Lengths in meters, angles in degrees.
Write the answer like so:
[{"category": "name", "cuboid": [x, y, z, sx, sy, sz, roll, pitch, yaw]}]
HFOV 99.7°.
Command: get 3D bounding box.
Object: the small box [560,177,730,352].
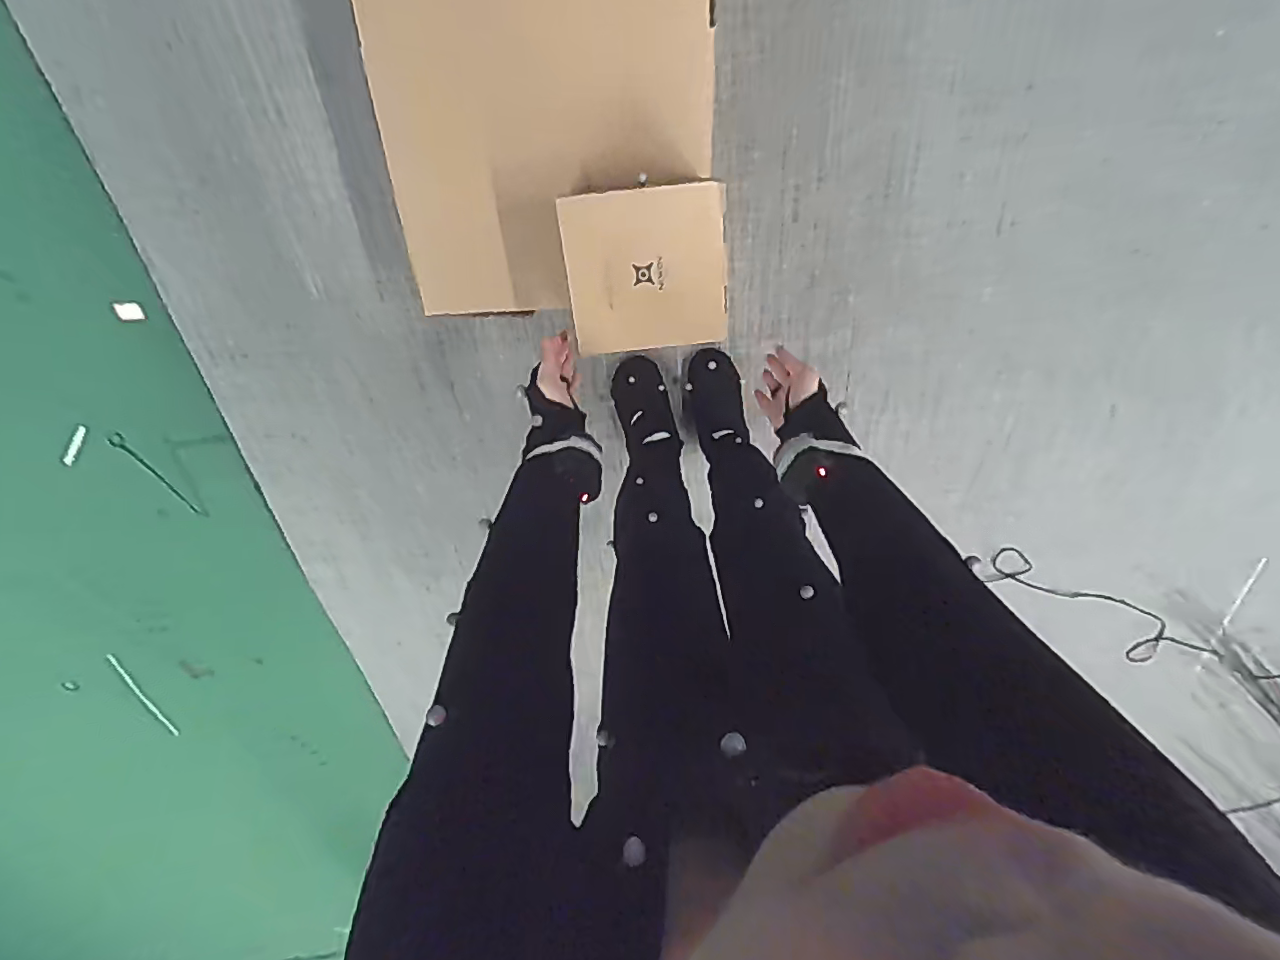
[{"category": "small box", "cuboid": [0.006, -0.266, 0.655, 0.179, 0.176, 0.168, -6, 119, 1]}]
